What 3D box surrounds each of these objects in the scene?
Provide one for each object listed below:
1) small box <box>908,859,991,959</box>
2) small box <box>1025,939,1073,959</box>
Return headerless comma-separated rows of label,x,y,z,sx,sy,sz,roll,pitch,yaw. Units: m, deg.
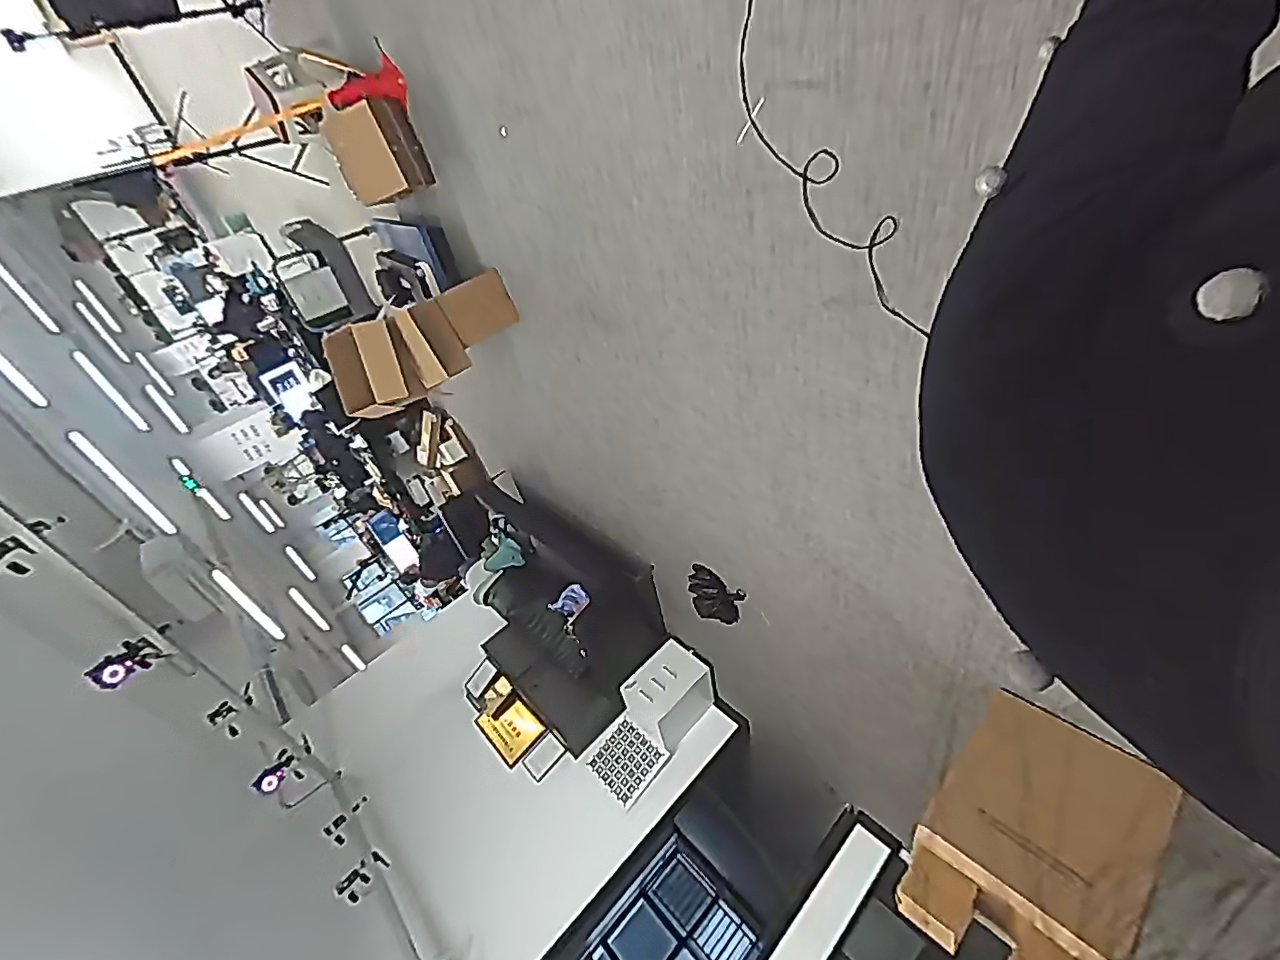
small box,0.975,1.347,1.707,0.179,0.176,0.168,18,135,48
small box,1.167,1.438,1.497,0.179,0.176,0.168,29,142,41
